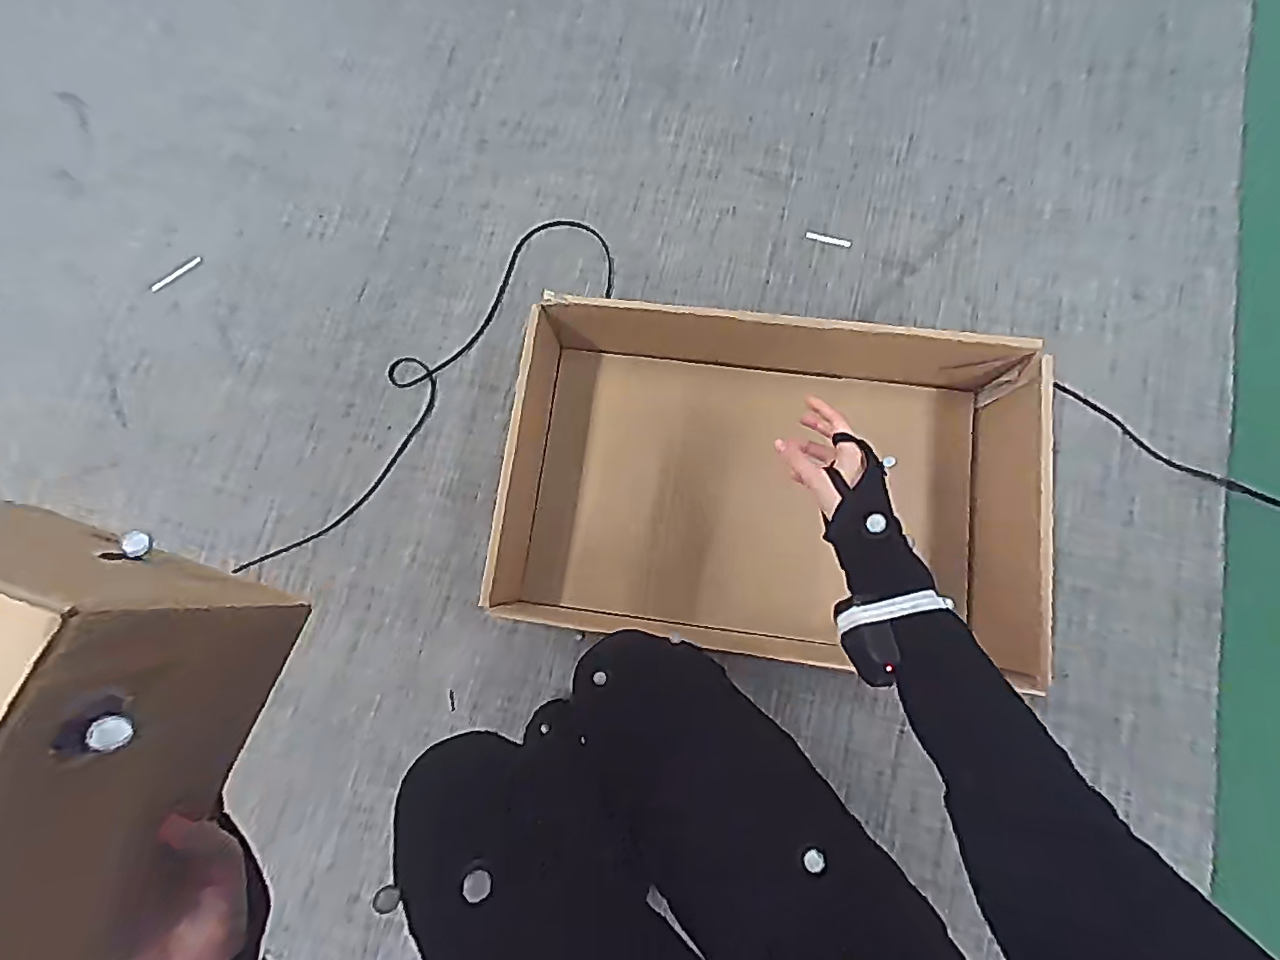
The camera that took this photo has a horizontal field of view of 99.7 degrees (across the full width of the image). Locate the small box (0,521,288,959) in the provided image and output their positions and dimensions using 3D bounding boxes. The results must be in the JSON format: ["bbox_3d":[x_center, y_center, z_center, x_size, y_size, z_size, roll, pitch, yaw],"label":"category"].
[{"bbox_3d":[-0.287,0.115,0.214,0.168,0.176,0.179,20,75,-3],"label":"small box"}]
